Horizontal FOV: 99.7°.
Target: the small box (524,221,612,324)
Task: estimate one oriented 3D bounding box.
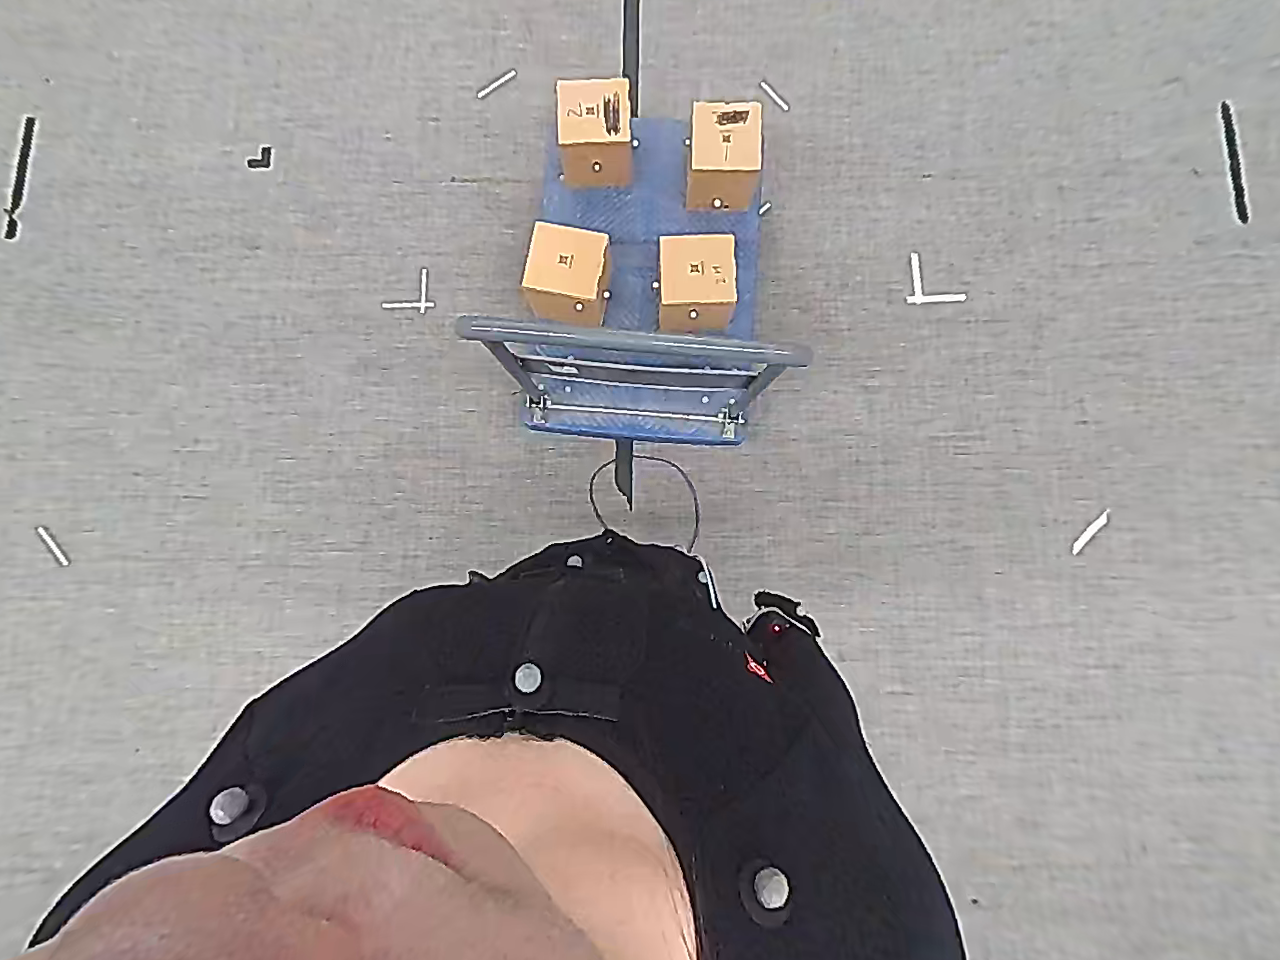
[{"bbox_3d":[-0.170,-0.503,1.334,0.179,0.176,0.168,10,83,0],"label":"small box"}]

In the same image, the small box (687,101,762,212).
[{"bbox_3d":[0.208,-0.810,1.364,0.168,0.176,0.179,1,85,1],"label":"small box"}]

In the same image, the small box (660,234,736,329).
[{"bbox_3d":[0.136,-0.481,1.330,0.179,0.176,0.168,-1,84,0],"label":"small box"}]
